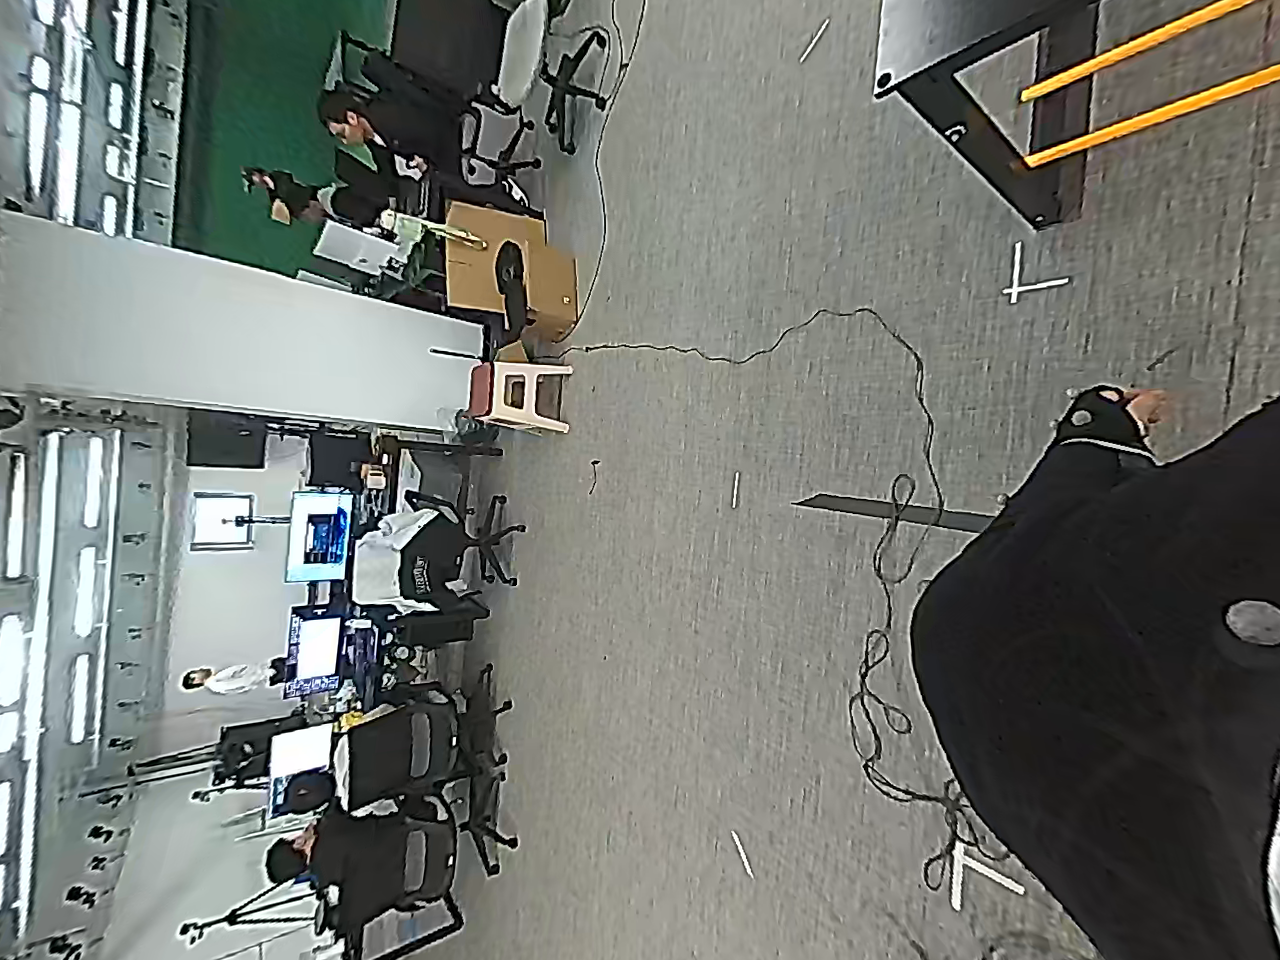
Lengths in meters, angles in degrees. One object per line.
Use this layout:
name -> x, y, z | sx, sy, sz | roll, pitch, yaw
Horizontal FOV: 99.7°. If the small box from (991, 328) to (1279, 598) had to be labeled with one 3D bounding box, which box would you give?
small box -> 0.431, 0.002, 0.477 | 0.179, 0.176, 0.168 | -12, 64, 22
